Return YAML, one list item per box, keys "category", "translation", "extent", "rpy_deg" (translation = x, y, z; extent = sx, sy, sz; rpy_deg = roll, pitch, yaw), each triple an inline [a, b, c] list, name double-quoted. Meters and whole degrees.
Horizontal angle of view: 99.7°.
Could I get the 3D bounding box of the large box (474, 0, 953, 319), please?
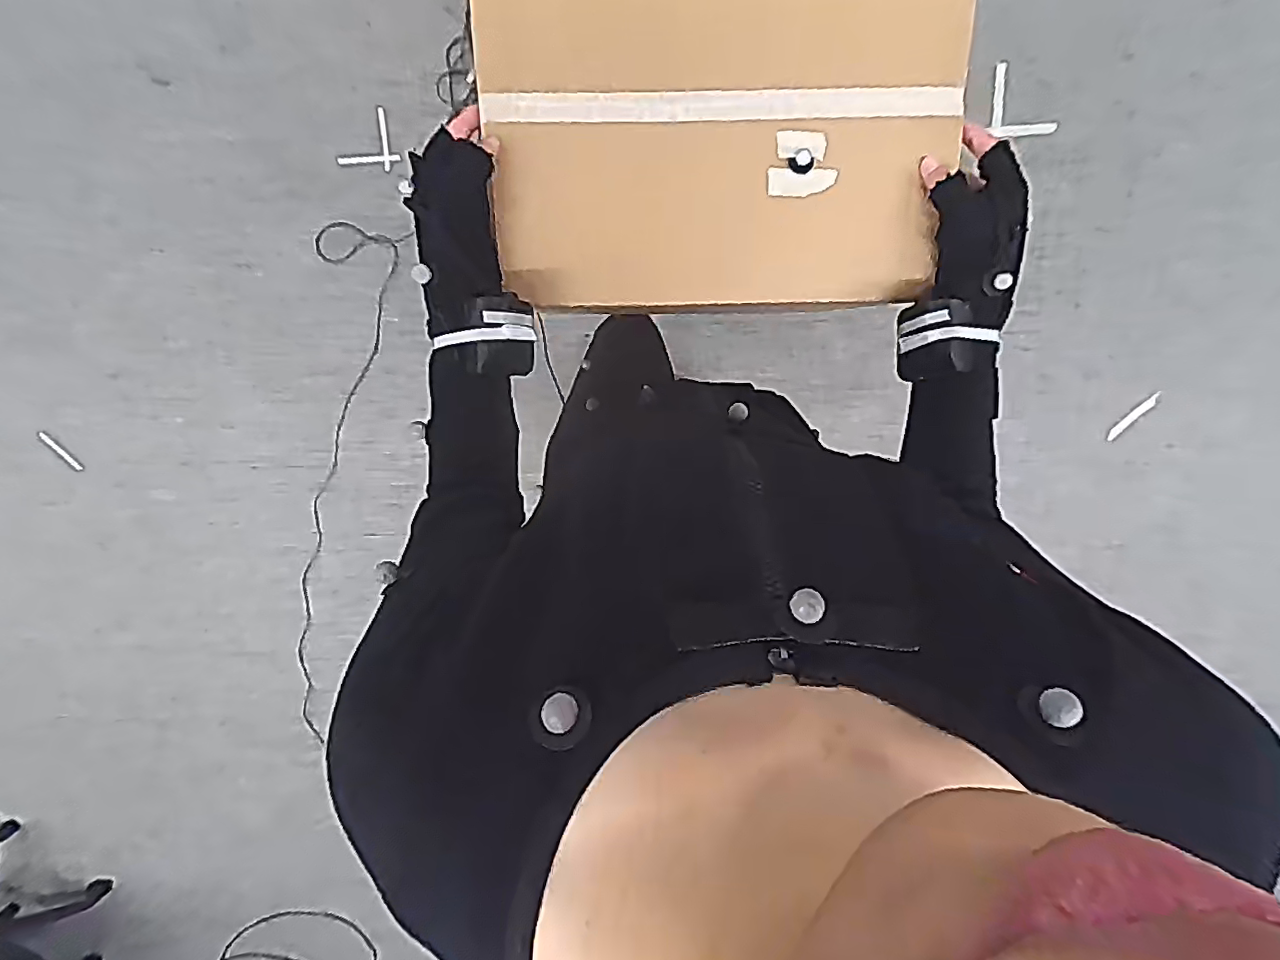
- category: "large box"
  translation: [0.060, -0.355, 0.611]
  extent: [0.408, 0.320, 0.320]
  rpy_deg: [-1, 105, -1]
